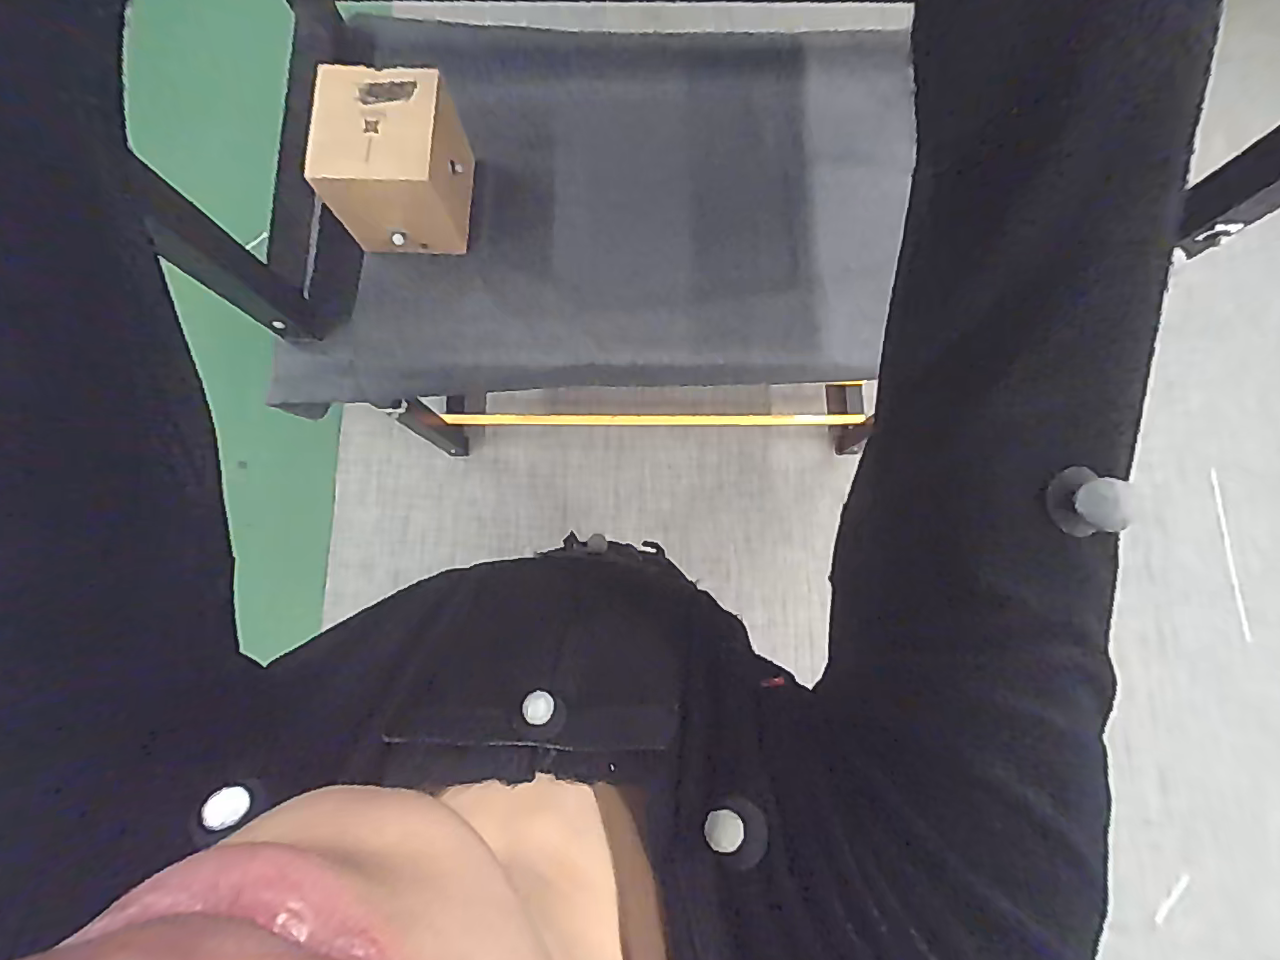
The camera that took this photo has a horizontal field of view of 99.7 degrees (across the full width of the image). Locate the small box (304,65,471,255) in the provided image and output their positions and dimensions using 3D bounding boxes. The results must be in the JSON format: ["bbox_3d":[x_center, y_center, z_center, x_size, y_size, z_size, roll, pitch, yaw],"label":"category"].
[{"bbox_3d":[-0.358,-0.463,0.800,0.168,0.176,0.179,1,80,-1],"label":"small box"}]
